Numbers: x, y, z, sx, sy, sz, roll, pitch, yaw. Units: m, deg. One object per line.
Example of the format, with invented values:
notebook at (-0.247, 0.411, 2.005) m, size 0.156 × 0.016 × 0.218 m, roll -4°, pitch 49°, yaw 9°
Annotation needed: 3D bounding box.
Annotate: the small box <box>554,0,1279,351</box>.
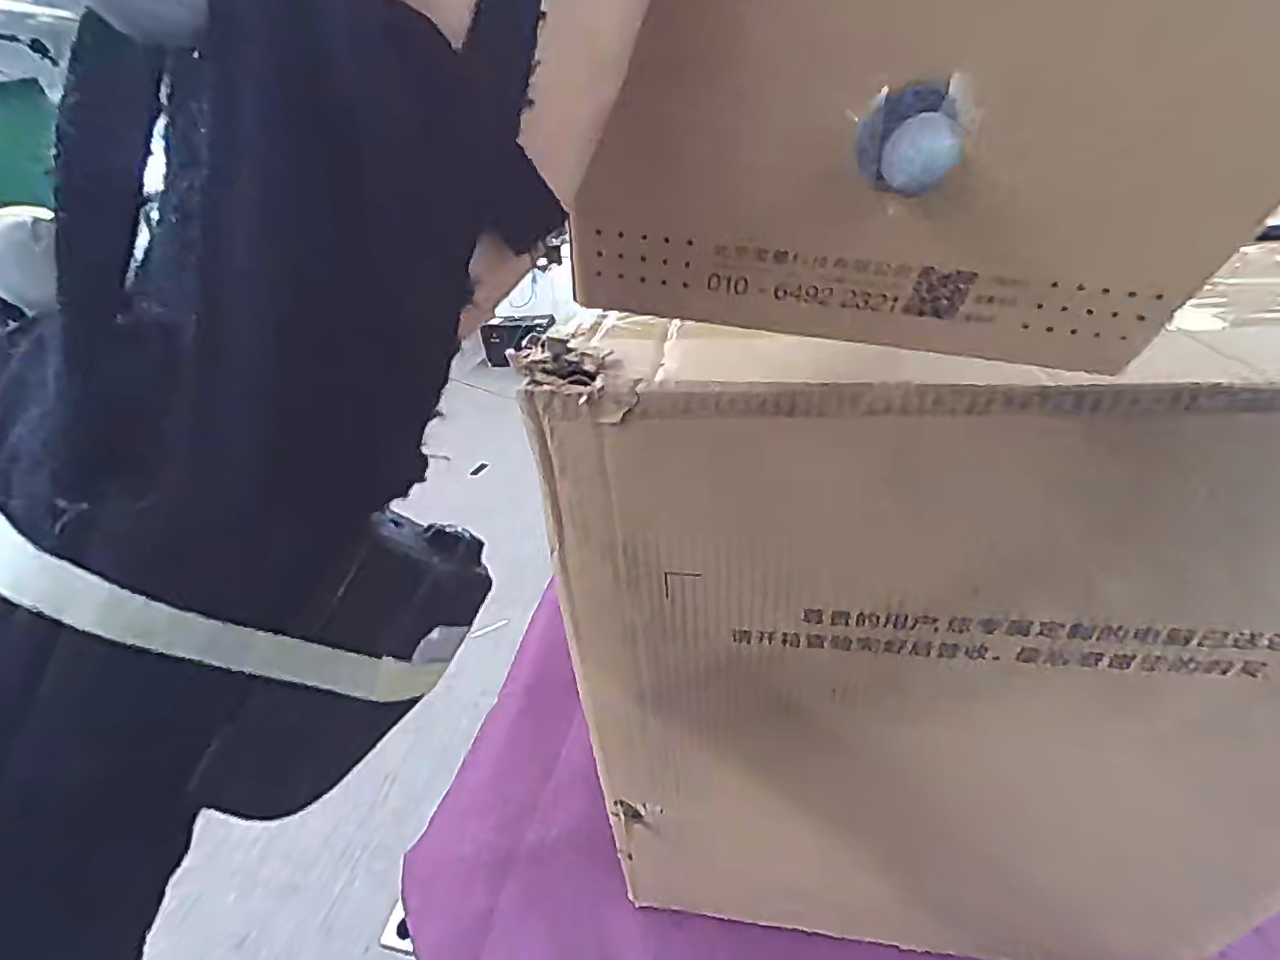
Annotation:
small box at (0.072, -0.163, 0.148) m, size 0.168 × 0.176 × 0.179 m, roll 9°, pitch 53°, yaw 5°
